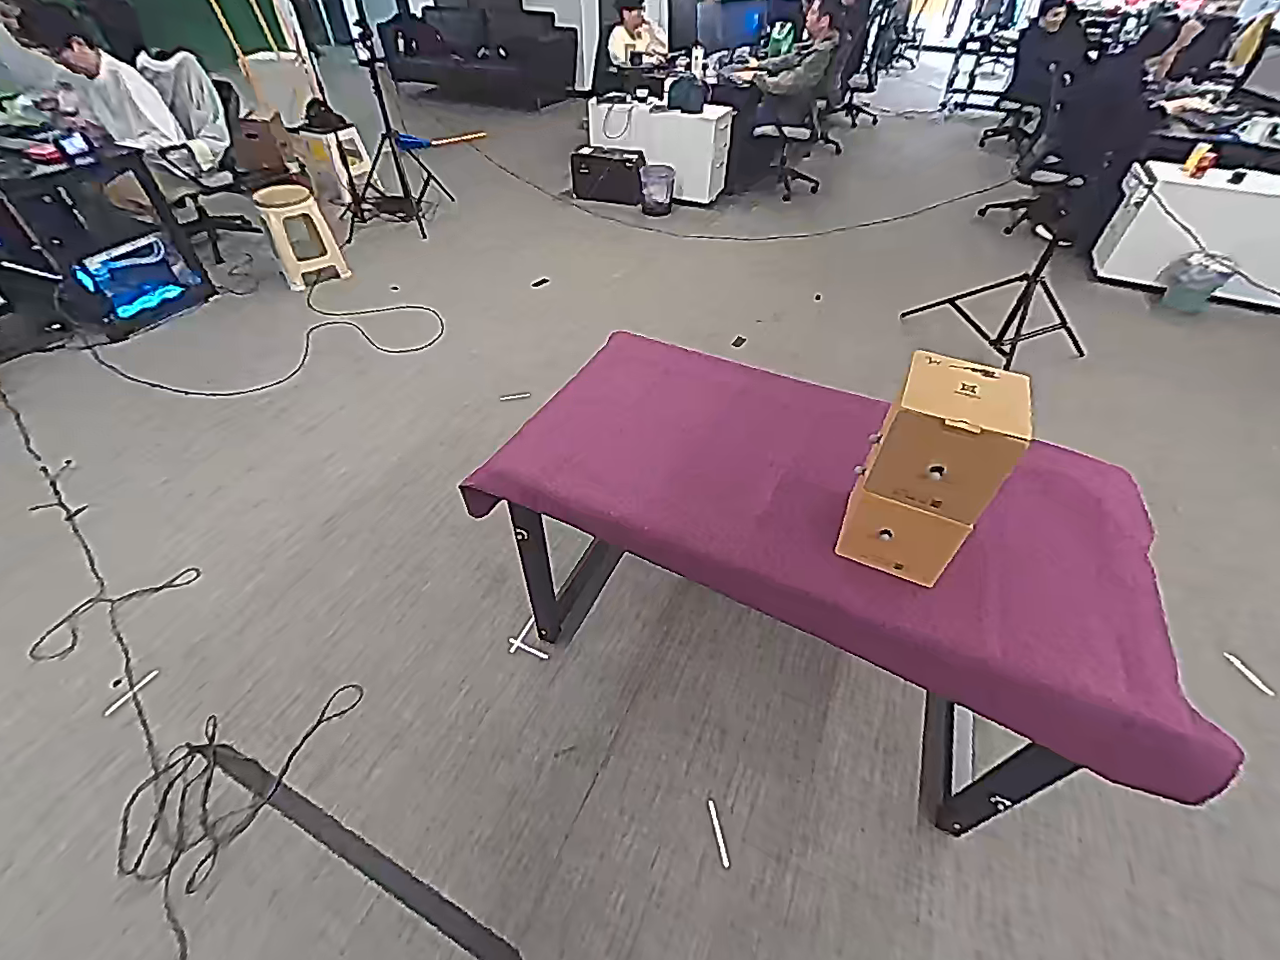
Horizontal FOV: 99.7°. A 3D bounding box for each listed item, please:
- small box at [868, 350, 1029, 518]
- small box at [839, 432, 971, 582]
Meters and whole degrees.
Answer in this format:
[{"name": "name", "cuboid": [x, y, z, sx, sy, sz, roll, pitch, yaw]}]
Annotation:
[{"name": "small box", "cuboid": [0.468, -0.070, 0.836, 0.168, 0.176, 0.179, 20, 48, 18]}, {"name": "small box", "cuboid": [0.463, 0.049, 0.949, 0.168, 0.176, 0.179, 19, 47, 17]}]
